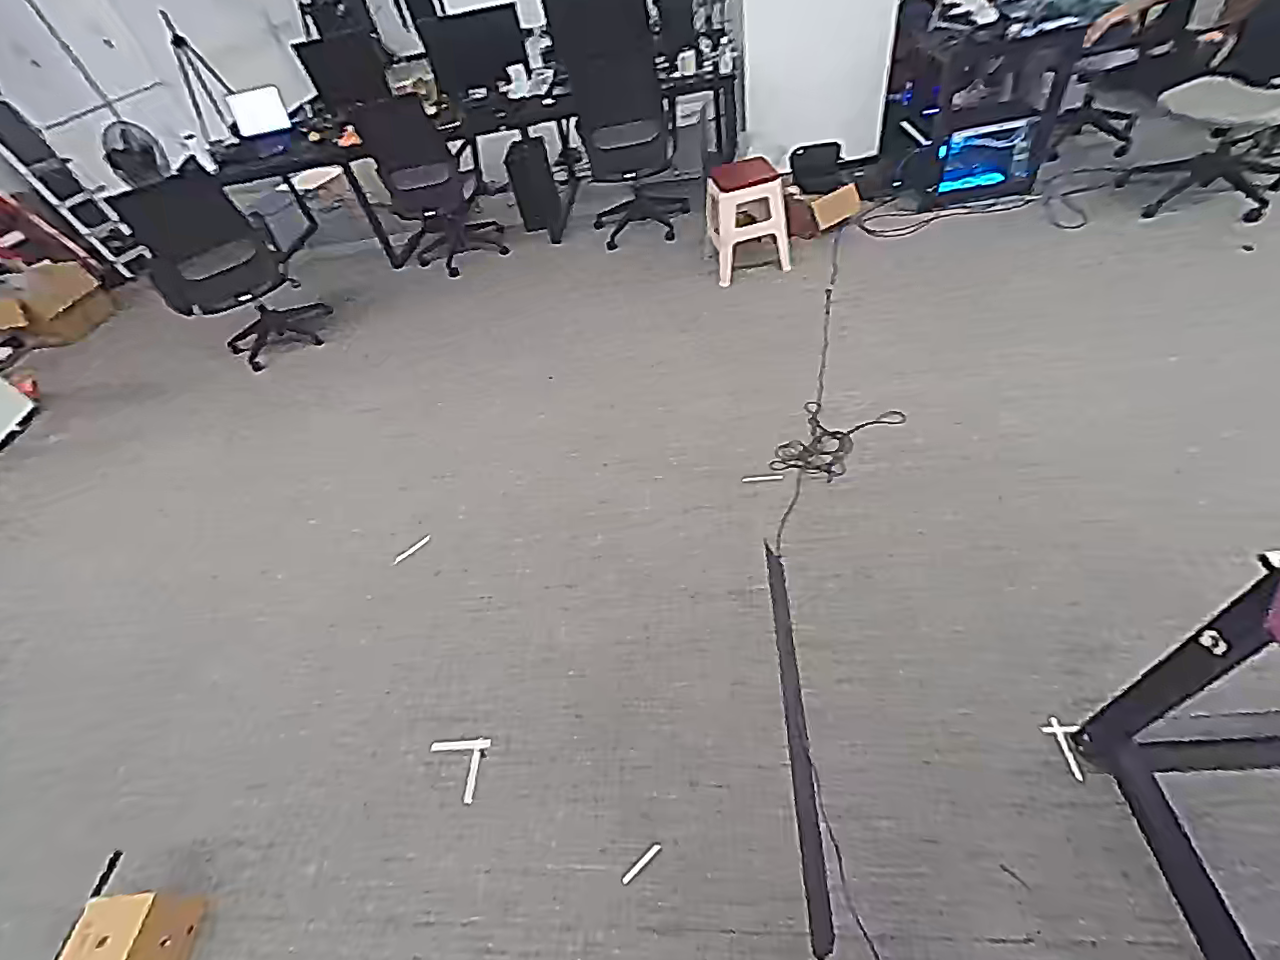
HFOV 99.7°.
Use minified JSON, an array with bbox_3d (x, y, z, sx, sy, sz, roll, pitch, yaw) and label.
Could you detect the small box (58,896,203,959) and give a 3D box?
[{"bbox_3d":[-1.181,1.076,1.253,0.179,0.176,0.168,-9,47,7],"label":"small box"}]
